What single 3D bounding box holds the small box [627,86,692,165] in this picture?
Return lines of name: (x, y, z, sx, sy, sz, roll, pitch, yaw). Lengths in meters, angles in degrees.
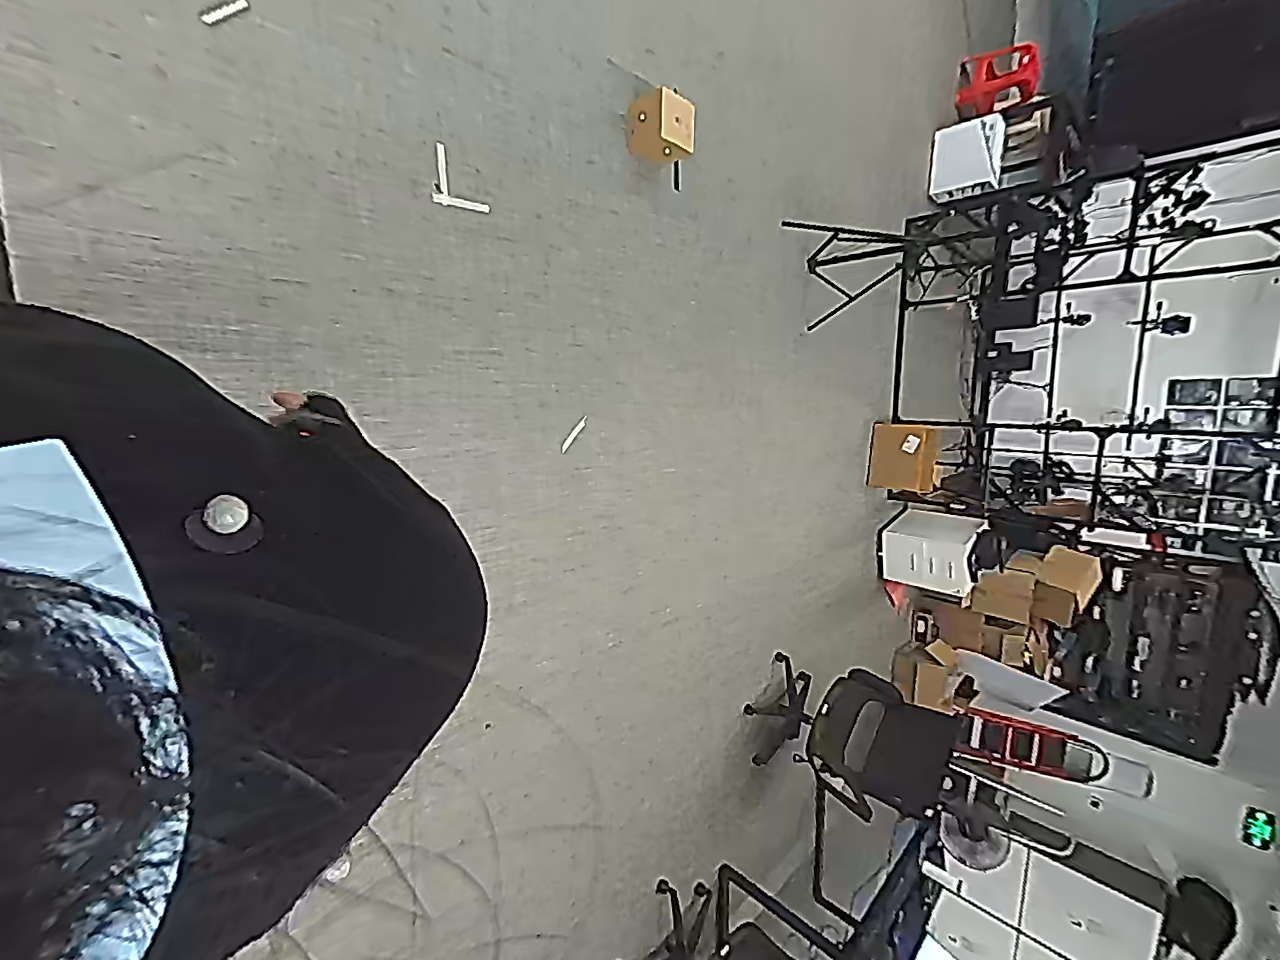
small box: (0.068, -1.273, 1.958, 0.179, 0.176, 0.168, -6, 101, -45)
